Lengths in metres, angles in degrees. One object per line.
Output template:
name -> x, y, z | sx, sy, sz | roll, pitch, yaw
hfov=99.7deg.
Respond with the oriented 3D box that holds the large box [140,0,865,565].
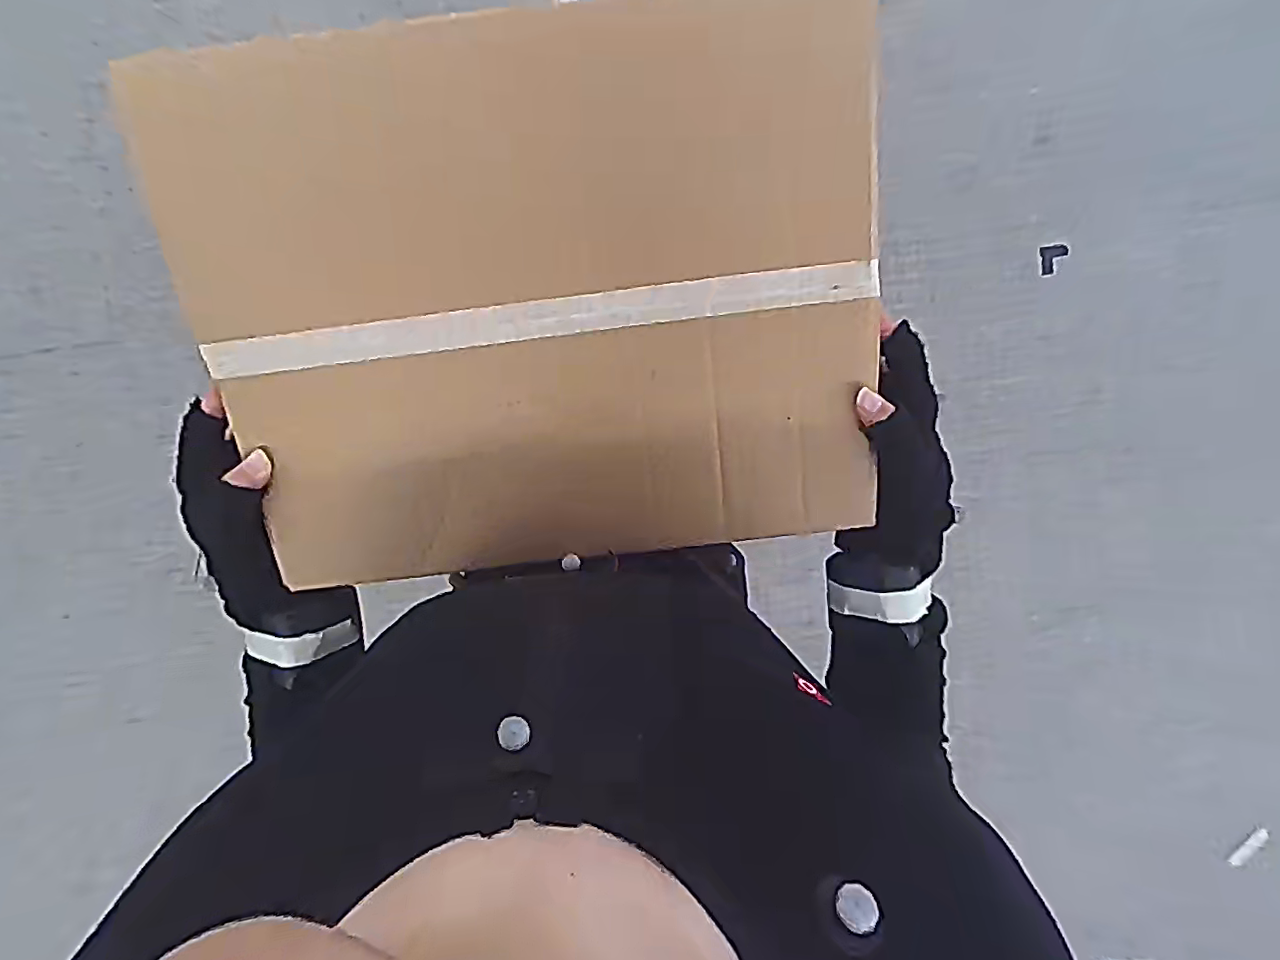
large box -> -0.065, -0.151, 0.475 | 0.408, 0.320, 0.320 | -7, 108, 1
